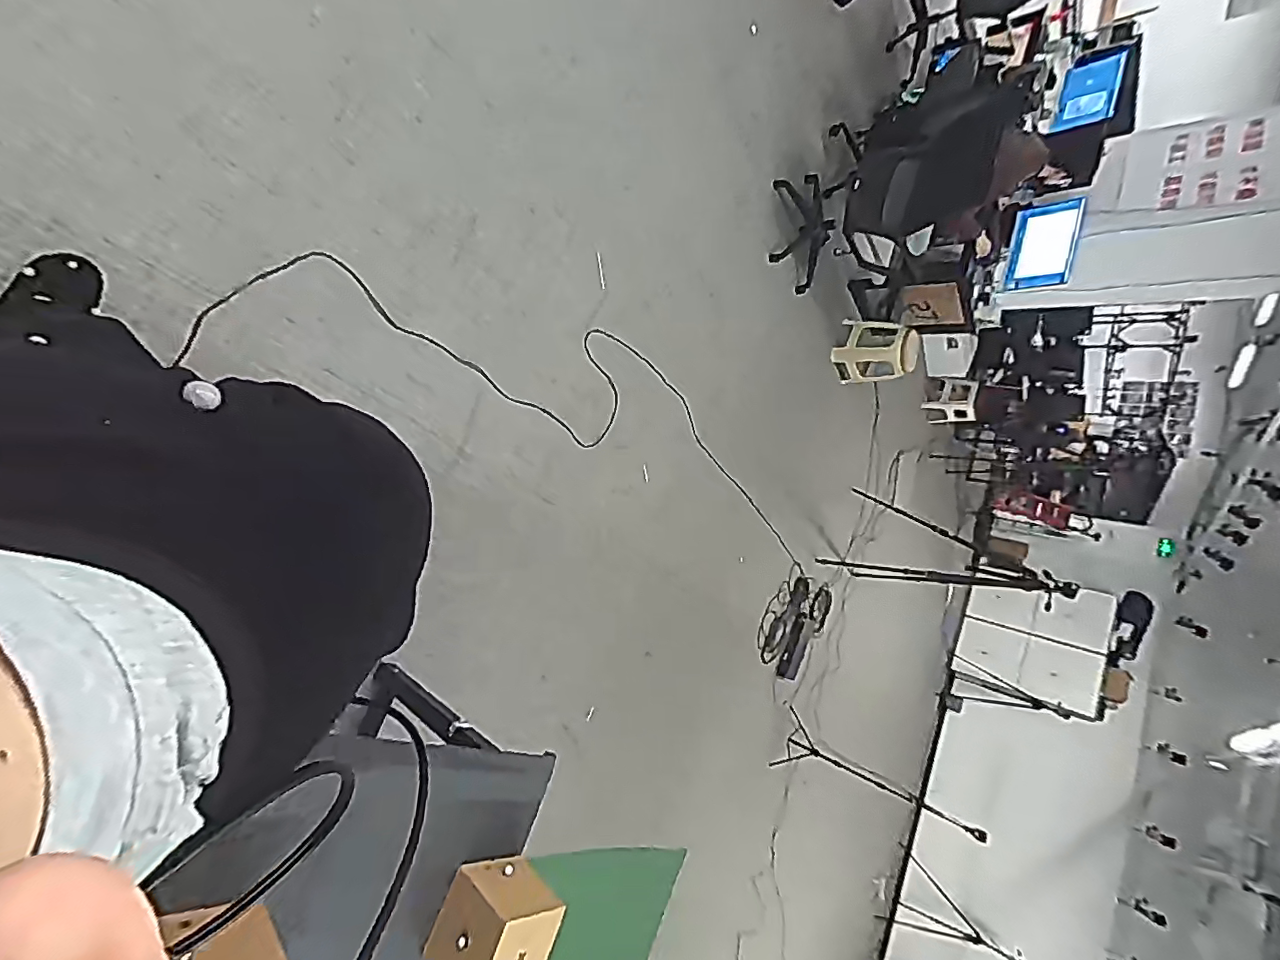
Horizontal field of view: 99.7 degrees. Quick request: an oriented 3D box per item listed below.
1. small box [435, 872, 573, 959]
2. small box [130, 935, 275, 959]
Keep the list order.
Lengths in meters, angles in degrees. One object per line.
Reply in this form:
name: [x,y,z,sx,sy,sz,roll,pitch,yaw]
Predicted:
small box: [-0.267,0.903,1.039,0.168,0.176,0.179,35,71,-47]
small box: [-0.564,0.708,0.662,0.168,0.176,0.179,33,74,-46]
